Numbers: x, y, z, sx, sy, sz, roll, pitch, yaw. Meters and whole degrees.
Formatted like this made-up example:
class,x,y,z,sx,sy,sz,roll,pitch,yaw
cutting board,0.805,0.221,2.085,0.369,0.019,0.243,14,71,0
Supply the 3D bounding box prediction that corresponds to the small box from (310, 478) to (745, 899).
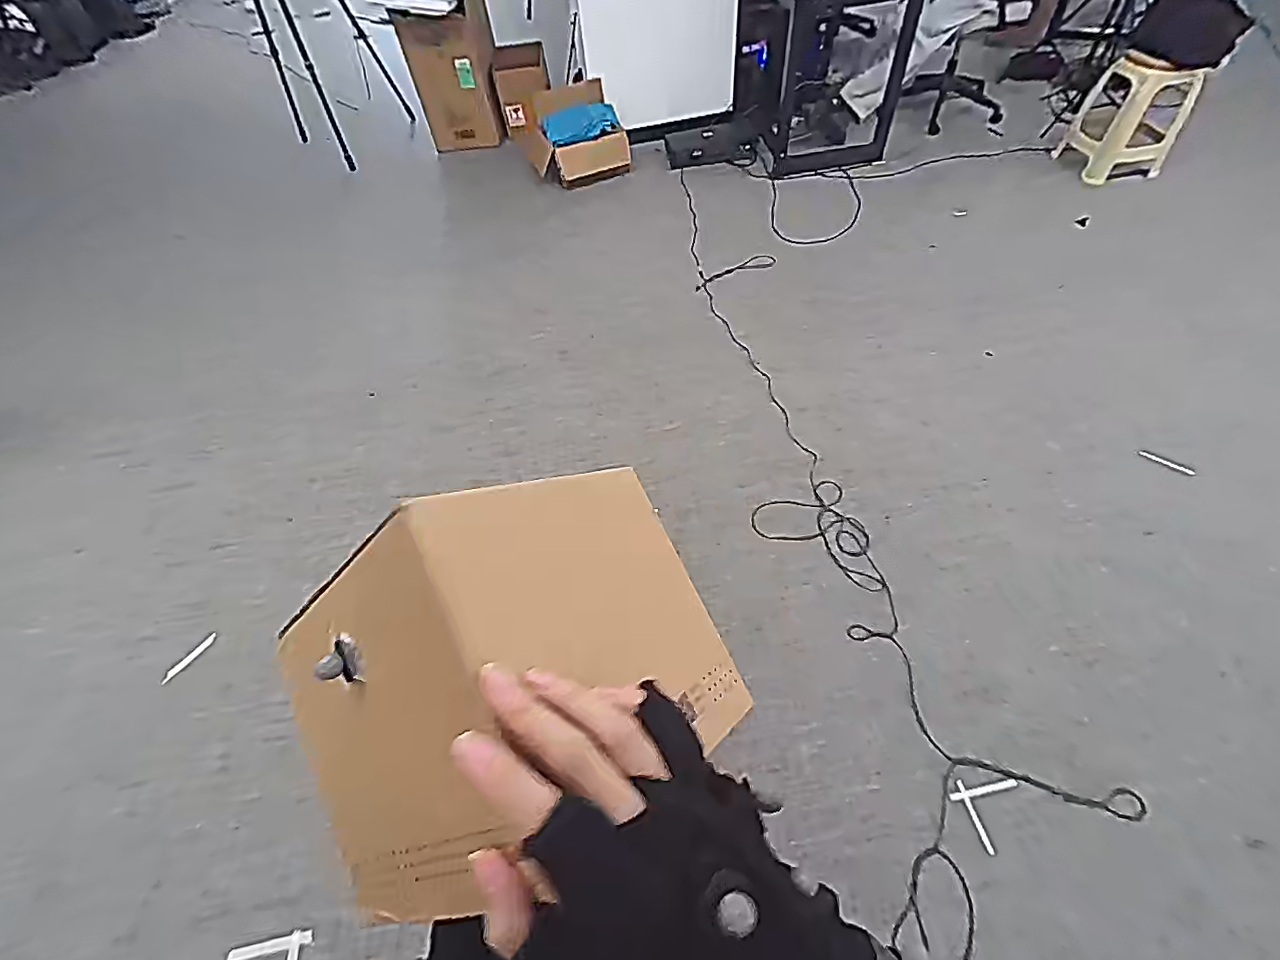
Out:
class,x,y,z,sx,sy,sz,roll,pitch,yaw
small box,-0.071,0.121,0.337,0.168,0.179,0.176,-12,69,-52
